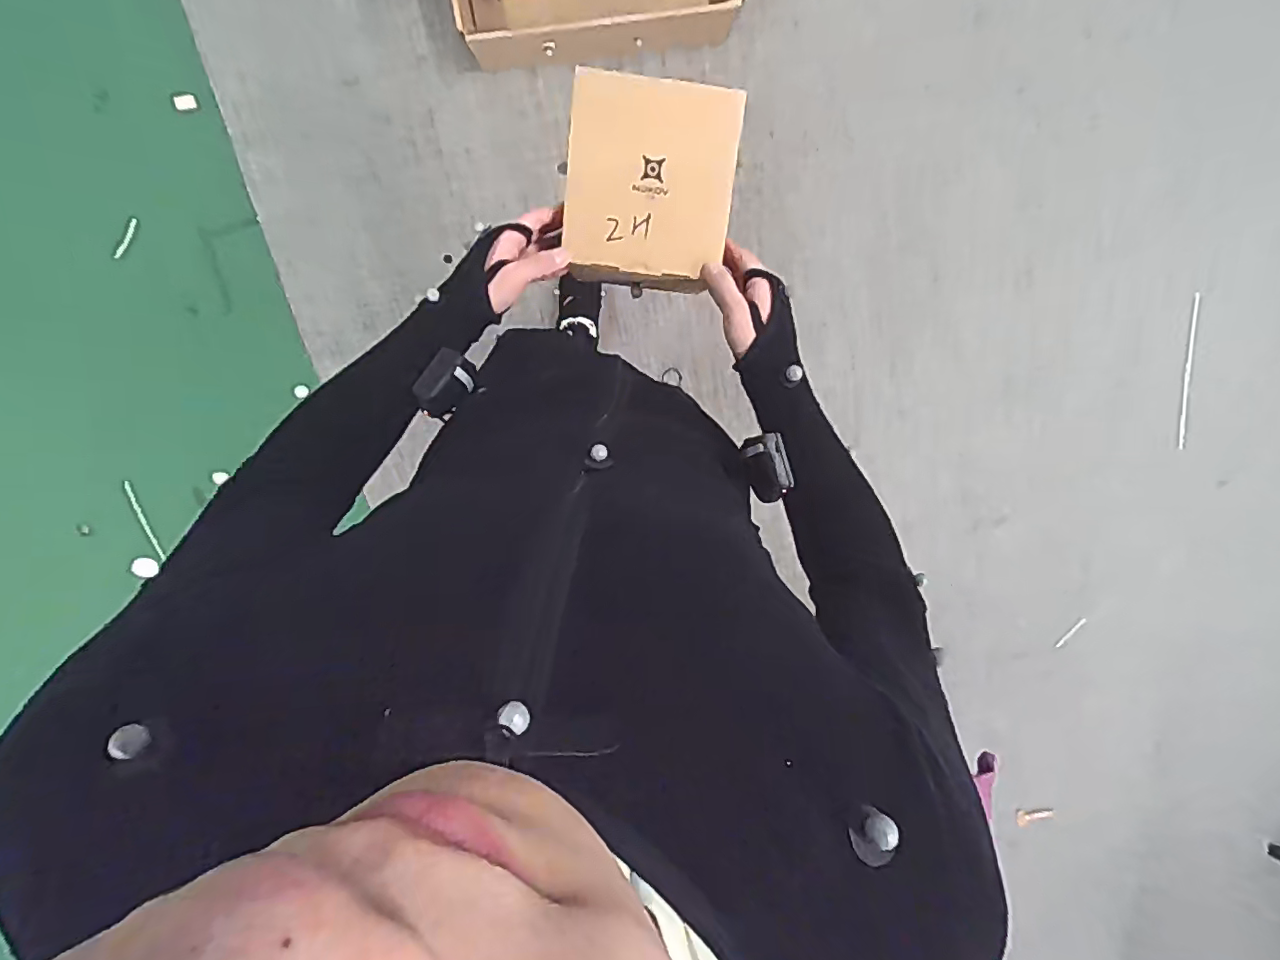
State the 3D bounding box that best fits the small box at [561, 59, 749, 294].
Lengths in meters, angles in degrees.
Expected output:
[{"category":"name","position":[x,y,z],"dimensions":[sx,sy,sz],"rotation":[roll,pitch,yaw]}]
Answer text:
[{"category":"small box","position":[0.009,-0.315,0.599],"dimensions":[0.168,0.176,0.179],"rotation":[7,104,-3]}]
